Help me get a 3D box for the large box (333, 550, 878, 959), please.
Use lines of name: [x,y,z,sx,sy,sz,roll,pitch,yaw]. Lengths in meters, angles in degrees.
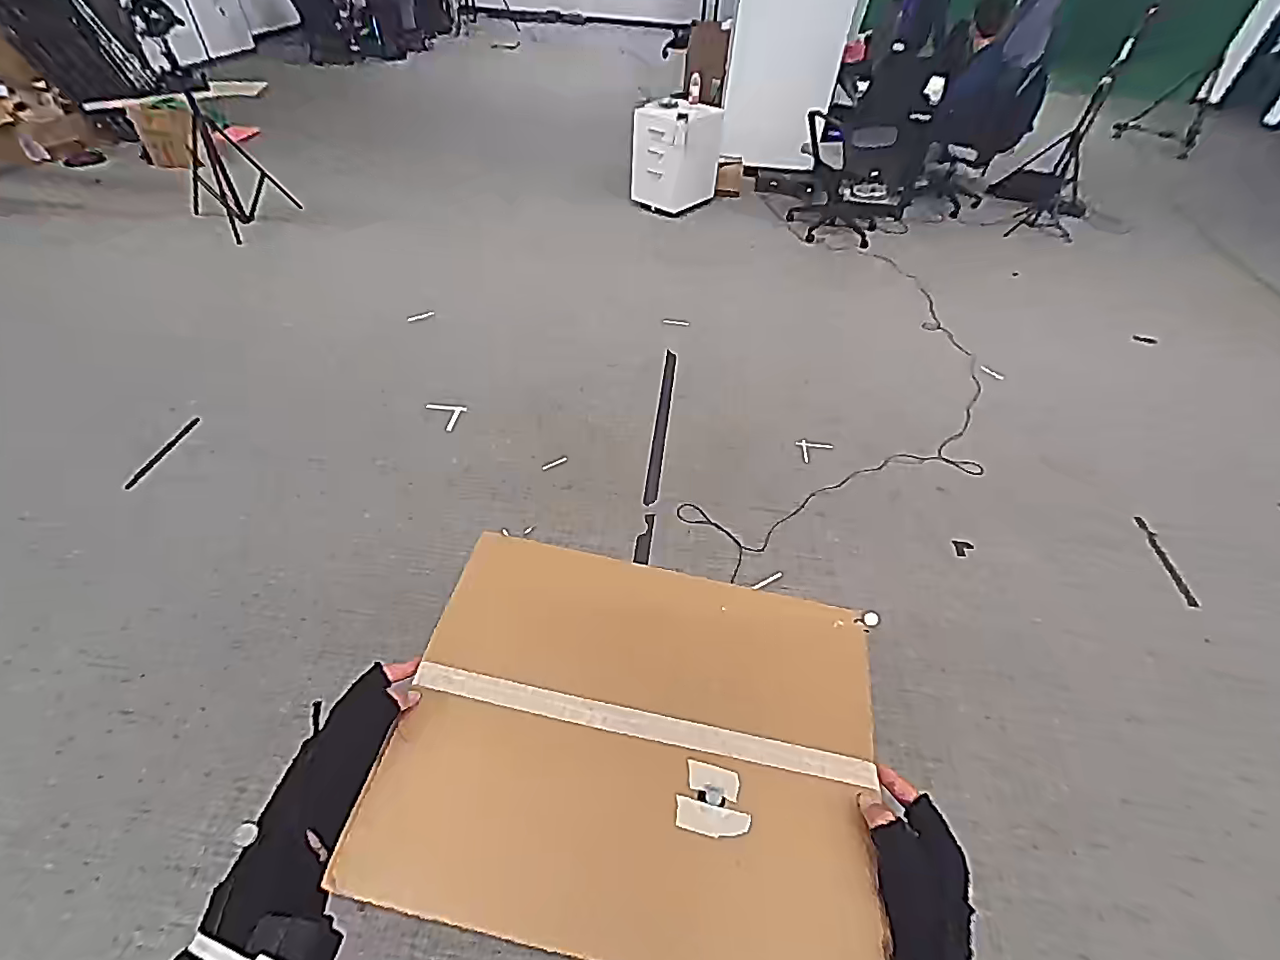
large box: [-0.017,0.319,0.585,0.408,0.320,0.320,12,51,3]
